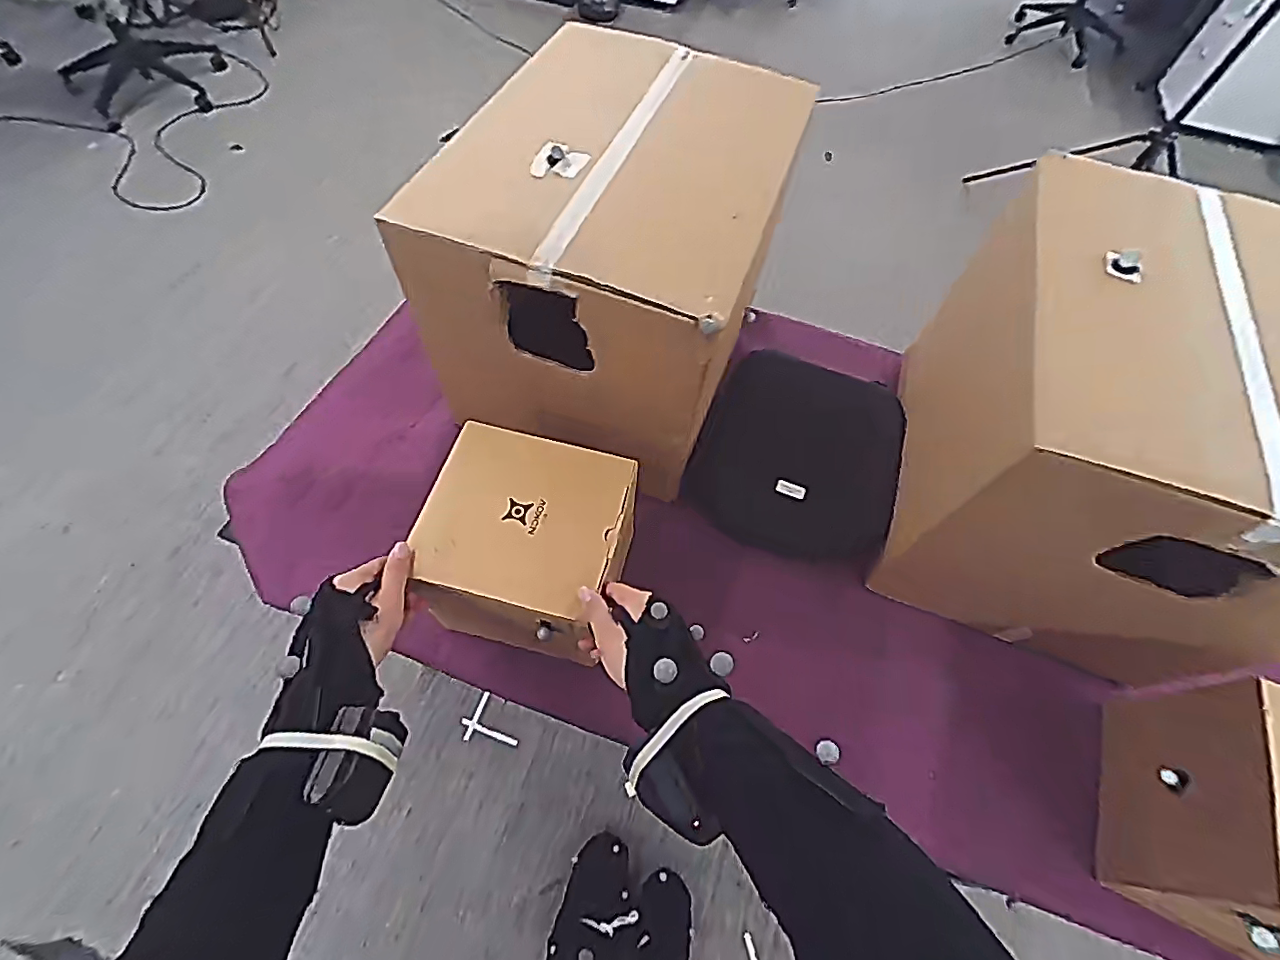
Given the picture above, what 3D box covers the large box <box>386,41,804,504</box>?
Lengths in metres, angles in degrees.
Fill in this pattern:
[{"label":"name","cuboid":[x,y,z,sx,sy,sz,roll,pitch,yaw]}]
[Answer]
[{"label":"large box","cuboid":[-0.027,-0.245,0.674,0.320,0.320,0.408,19,63,7]}]
